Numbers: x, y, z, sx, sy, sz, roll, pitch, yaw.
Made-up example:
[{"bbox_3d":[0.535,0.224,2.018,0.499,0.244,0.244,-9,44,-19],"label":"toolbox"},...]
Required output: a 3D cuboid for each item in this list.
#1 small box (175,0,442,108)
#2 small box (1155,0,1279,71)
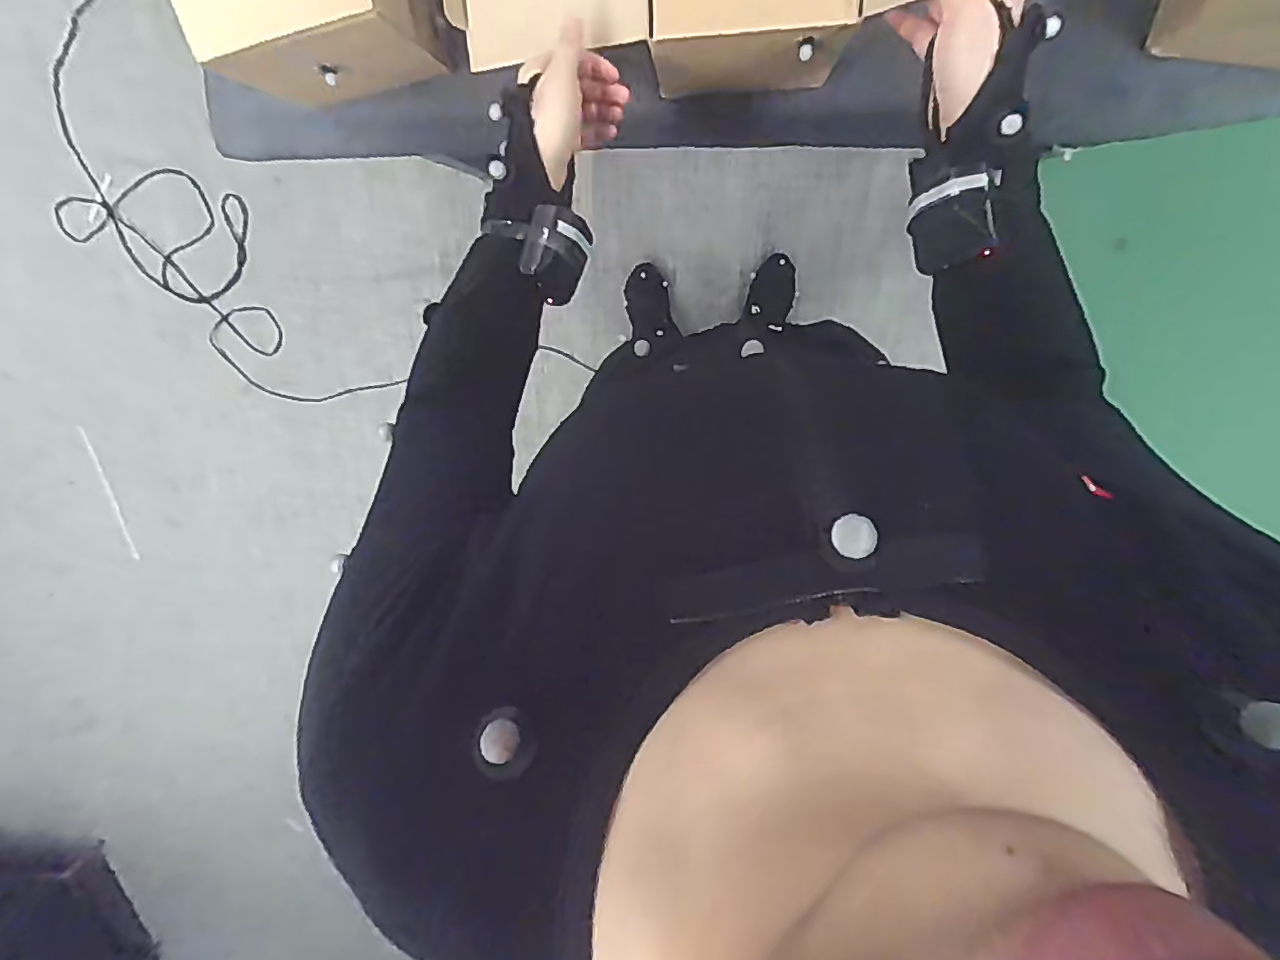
[{"bbox_3d":[-0.308,-0.477,0.505,0.179,0.176,0.168,-8,112,9],"label":"small box"},{"bbox_3d":[0.585,-0.457,0.429,0.179,0.176,0.168,8,109,3],"label":"small box"}]
